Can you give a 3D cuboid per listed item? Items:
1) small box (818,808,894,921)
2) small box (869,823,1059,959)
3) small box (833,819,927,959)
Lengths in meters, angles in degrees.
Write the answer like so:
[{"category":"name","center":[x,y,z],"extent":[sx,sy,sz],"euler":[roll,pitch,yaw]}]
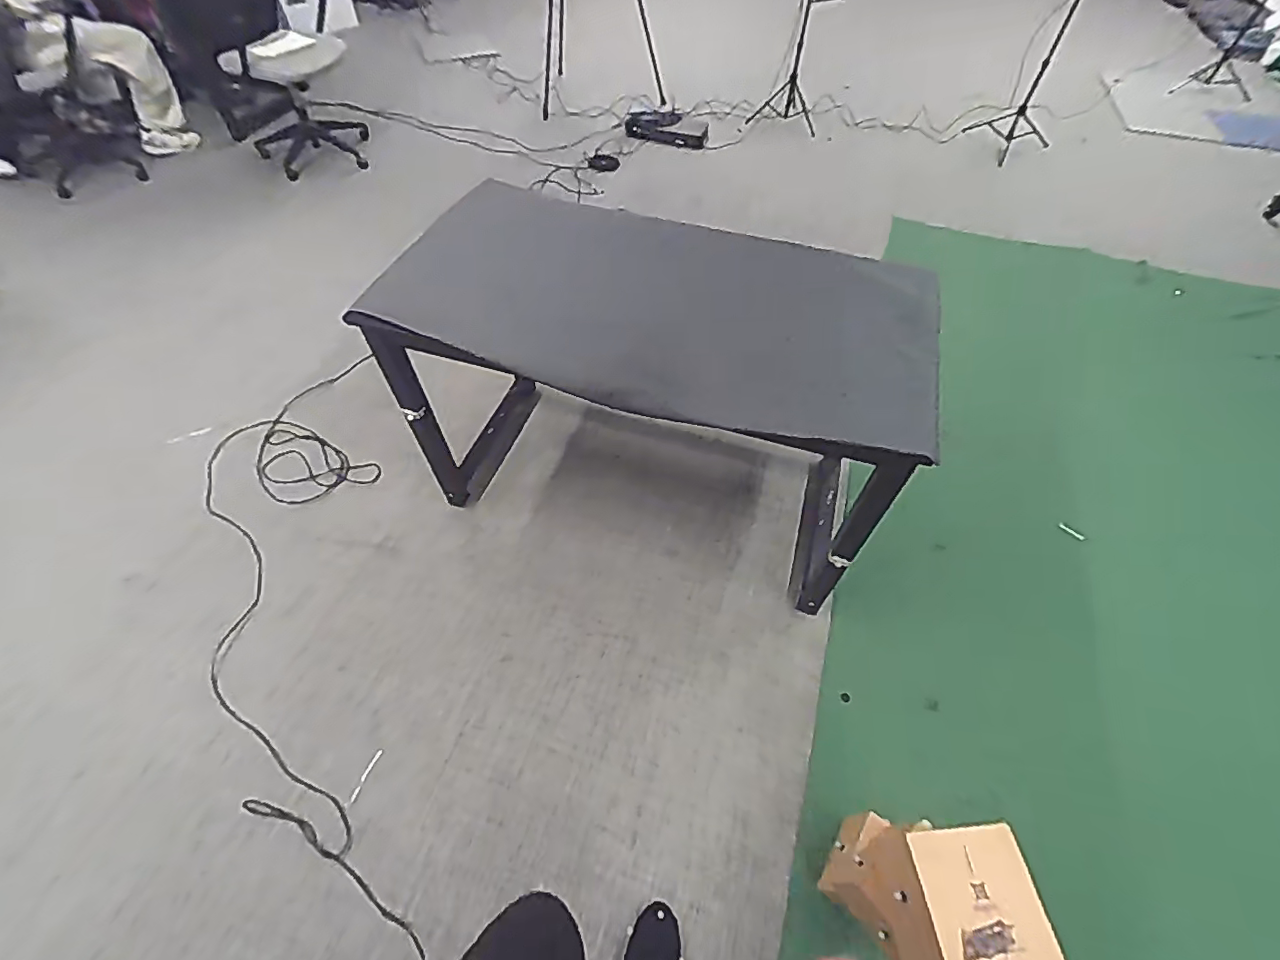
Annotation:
[{"category":"small box","center":[0.492,0.816,1.111],"extent":[0.179,0.176,0.168],"euler":[30,61,19]},{"category":"small box","center":[0.482,0.642,0.834],"extent":[0.168,0.176,0.179],"euler":[-4,54,-2]},{"category":"small box","center":[0.478,0.744,0.963],"extent":[0.168,0.176,0.179],"euler":[-29,60,-18]}]
